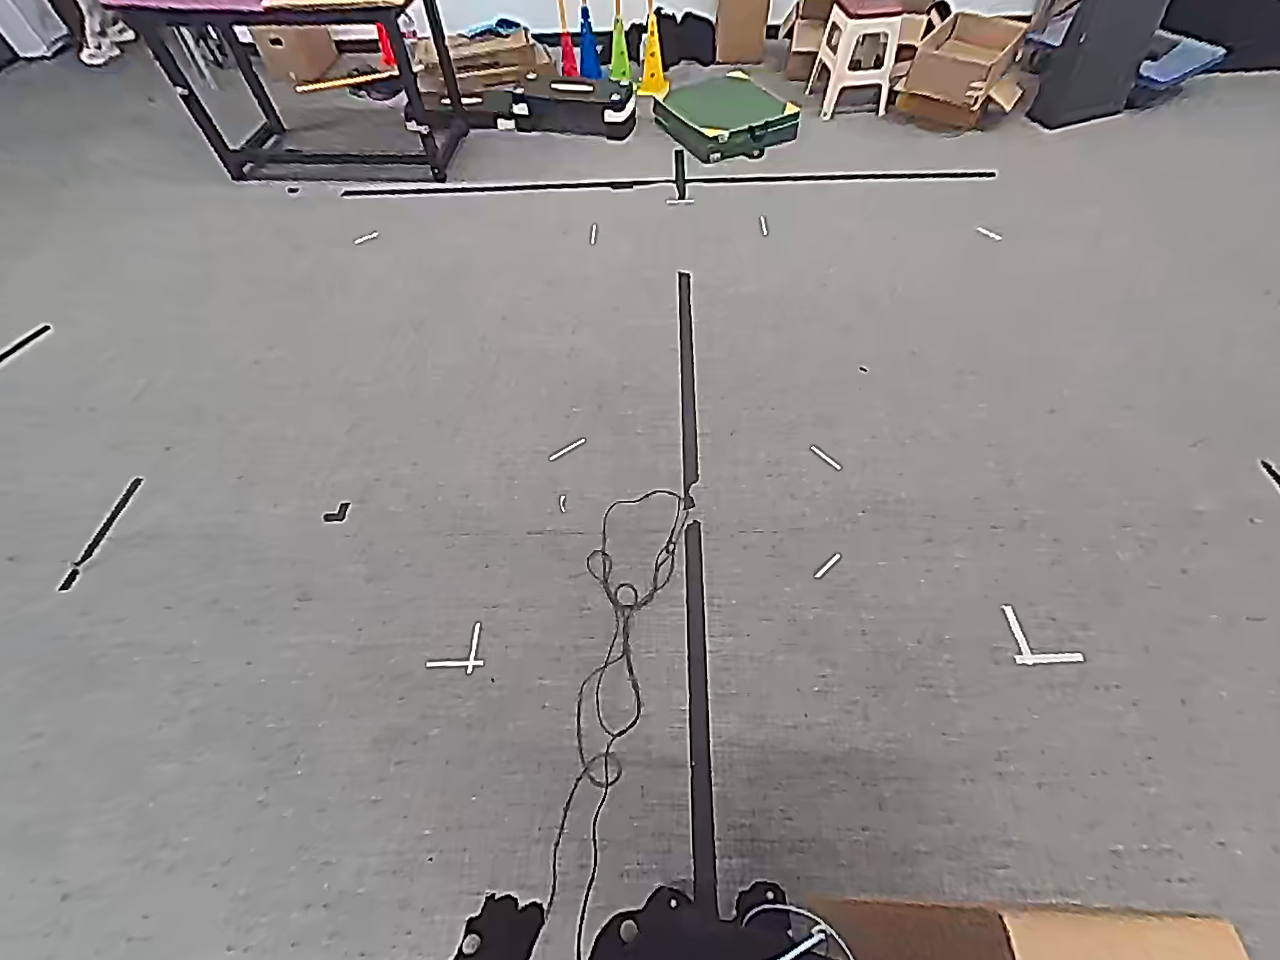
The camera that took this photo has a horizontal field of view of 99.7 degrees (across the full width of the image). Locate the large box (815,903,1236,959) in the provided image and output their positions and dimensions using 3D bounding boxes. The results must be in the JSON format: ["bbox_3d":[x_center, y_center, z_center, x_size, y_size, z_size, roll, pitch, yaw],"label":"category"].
[{"bbox_3d":[0.471,0.713,0.651,0.320,0.408,0.320,11,52,-10],"label":"large box"}]
